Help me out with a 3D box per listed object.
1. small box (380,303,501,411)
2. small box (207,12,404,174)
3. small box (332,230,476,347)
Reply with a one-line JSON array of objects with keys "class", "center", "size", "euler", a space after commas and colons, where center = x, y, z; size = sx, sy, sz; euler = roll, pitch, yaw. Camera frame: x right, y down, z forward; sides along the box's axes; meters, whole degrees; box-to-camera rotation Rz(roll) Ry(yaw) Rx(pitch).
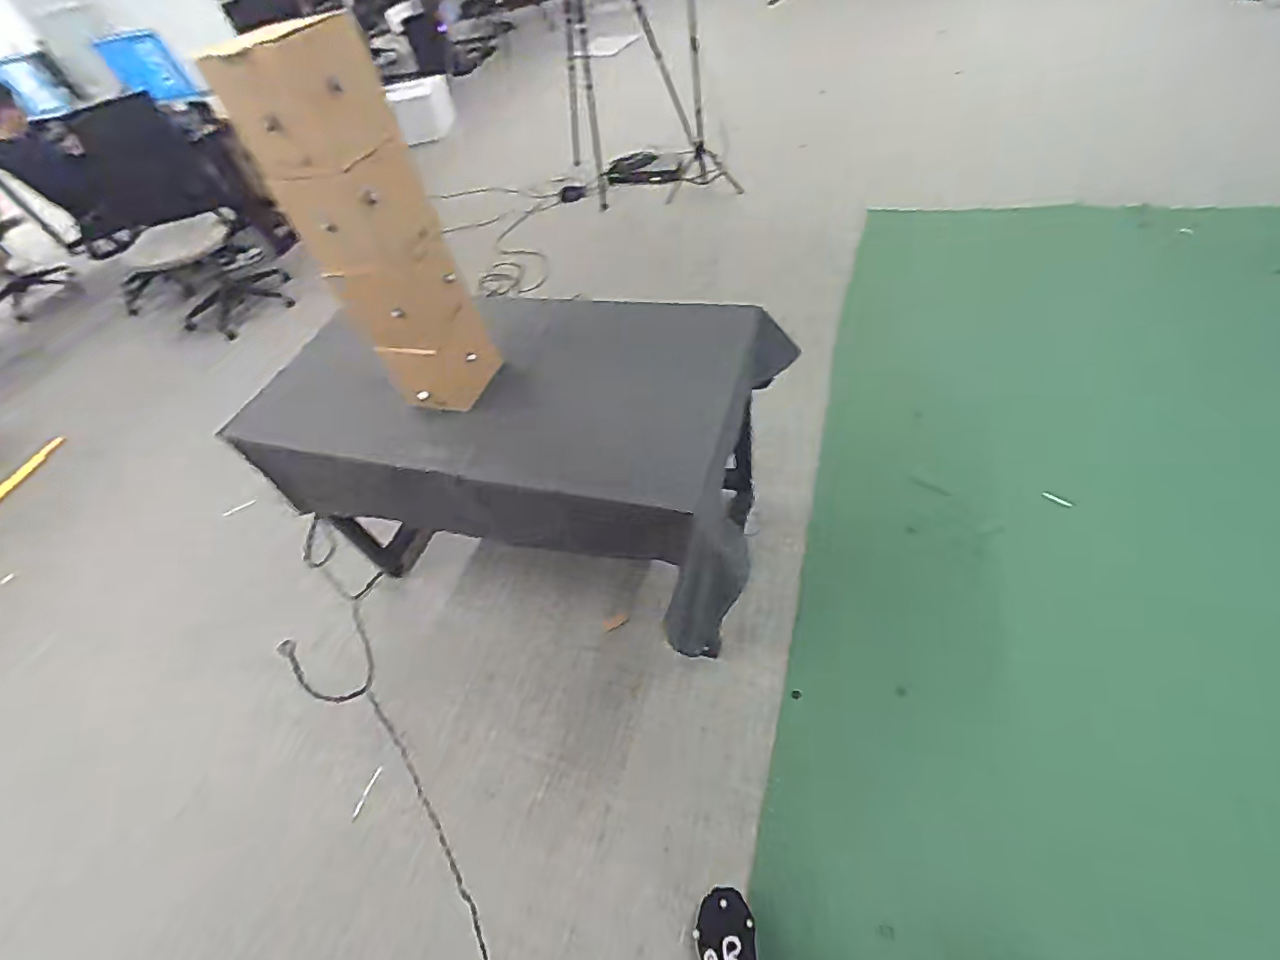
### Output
[{"class": "small box", "center": [-0.437, -0.283, 1.225], "size": [0.168, 0.176, 0.179], "euler": [9, 54, 20]}, {"class": "small box", "center": [-0.519, -0.611, 0.871], "size": [0.168, 0.176, 0.179], "euler": [8, 53, 19]}, {"class": "small box", "center": [-0.468, -0.389, 1.105], "size": [0.179, 0.176, 0.168], "euler": [7, 52, 18]}]
